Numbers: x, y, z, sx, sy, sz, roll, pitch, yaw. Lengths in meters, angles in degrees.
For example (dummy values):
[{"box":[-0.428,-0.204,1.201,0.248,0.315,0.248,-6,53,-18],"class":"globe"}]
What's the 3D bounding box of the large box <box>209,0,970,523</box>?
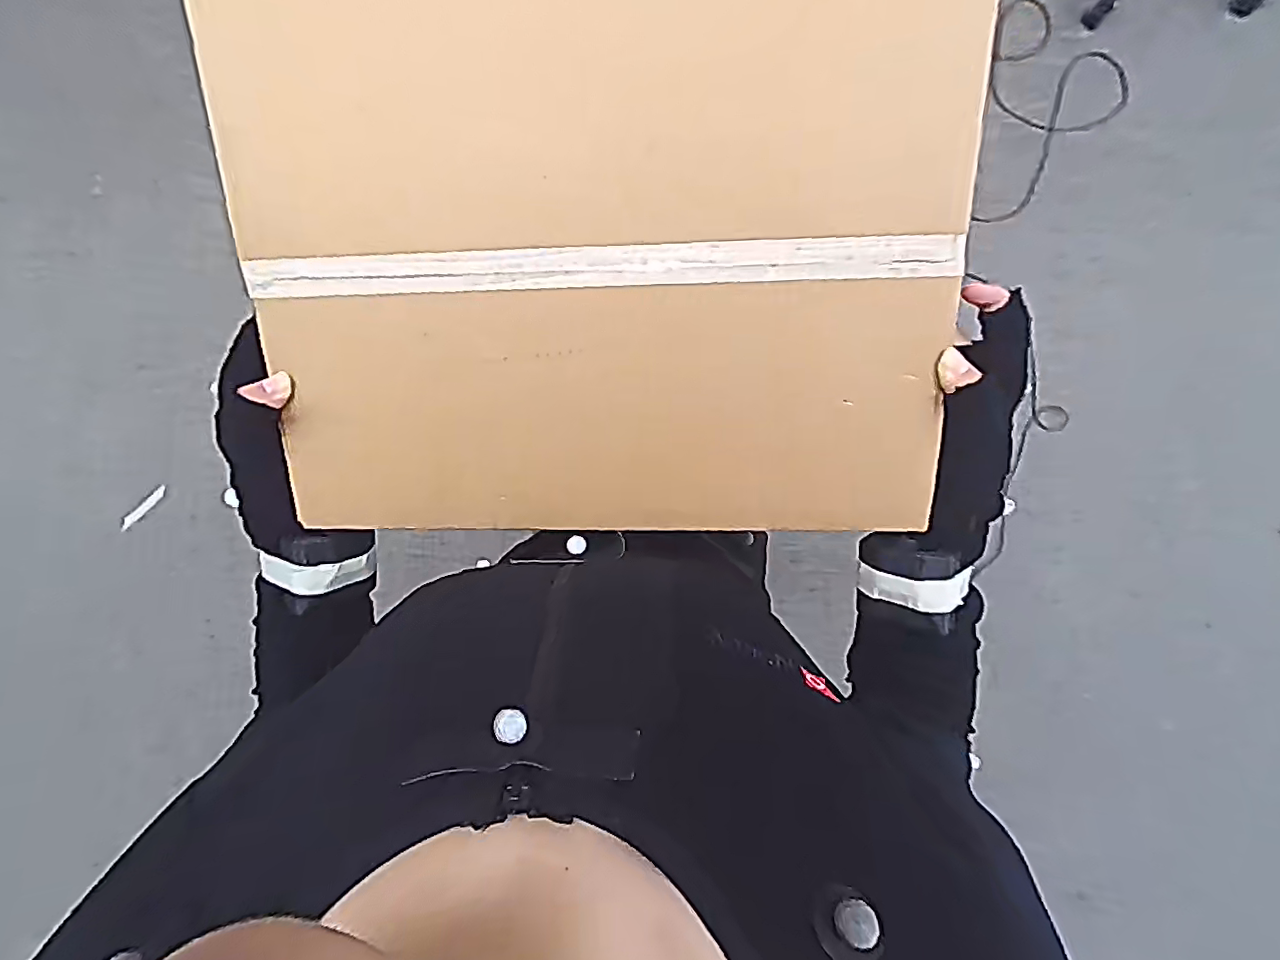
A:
[{"box":[-0.021,-0.163,0.457,0.408,0.320,0.320,-1,107,4],"class":"large box"}]
